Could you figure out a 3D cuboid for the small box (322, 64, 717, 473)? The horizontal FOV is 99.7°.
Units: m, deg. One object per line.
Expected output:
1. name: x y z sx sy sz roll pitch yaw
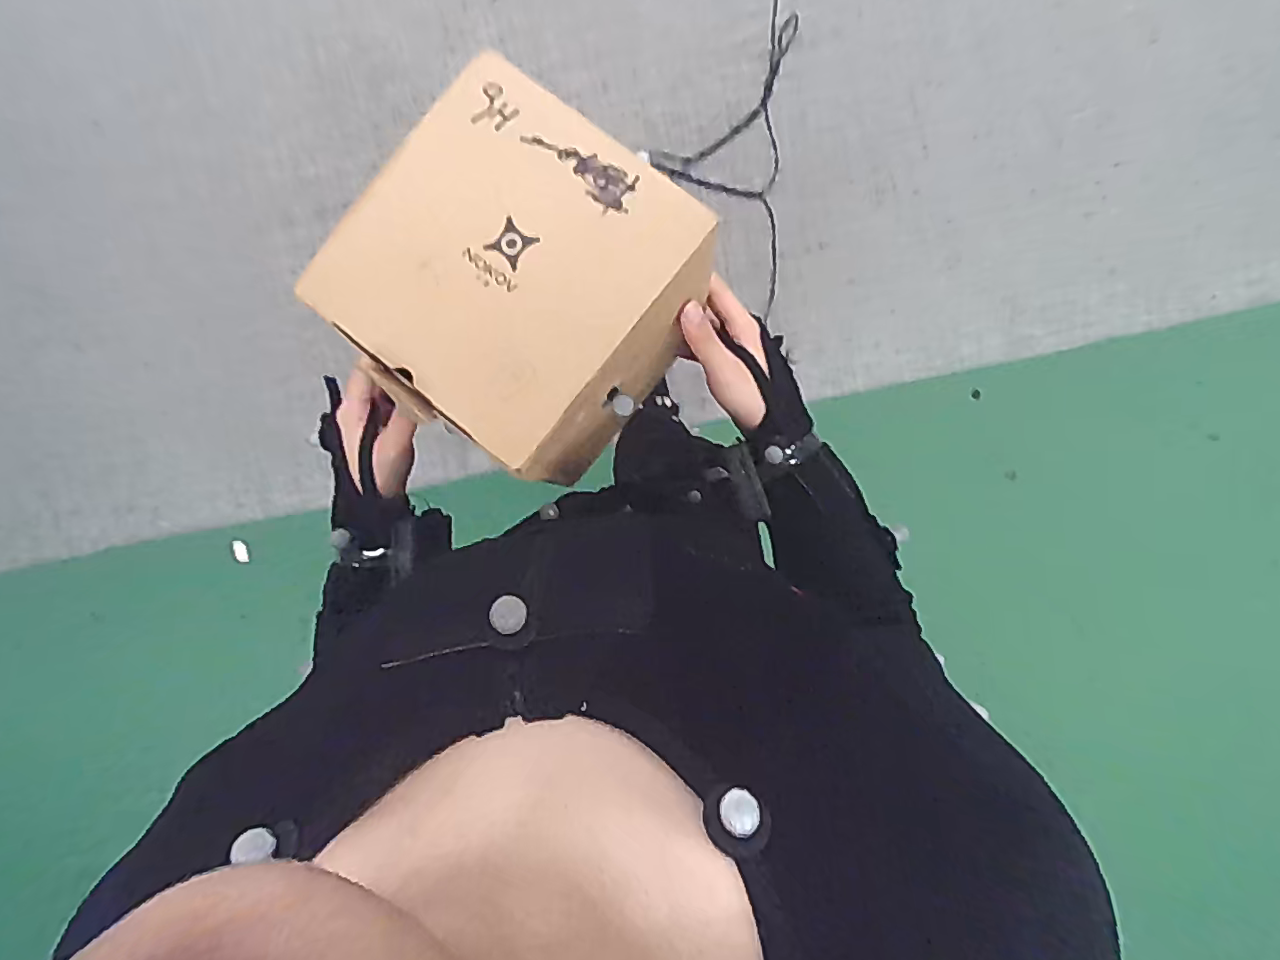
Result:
1. small box: -0.064 -0.119 0.383 0.168 0.176 0.179 38 90 5
